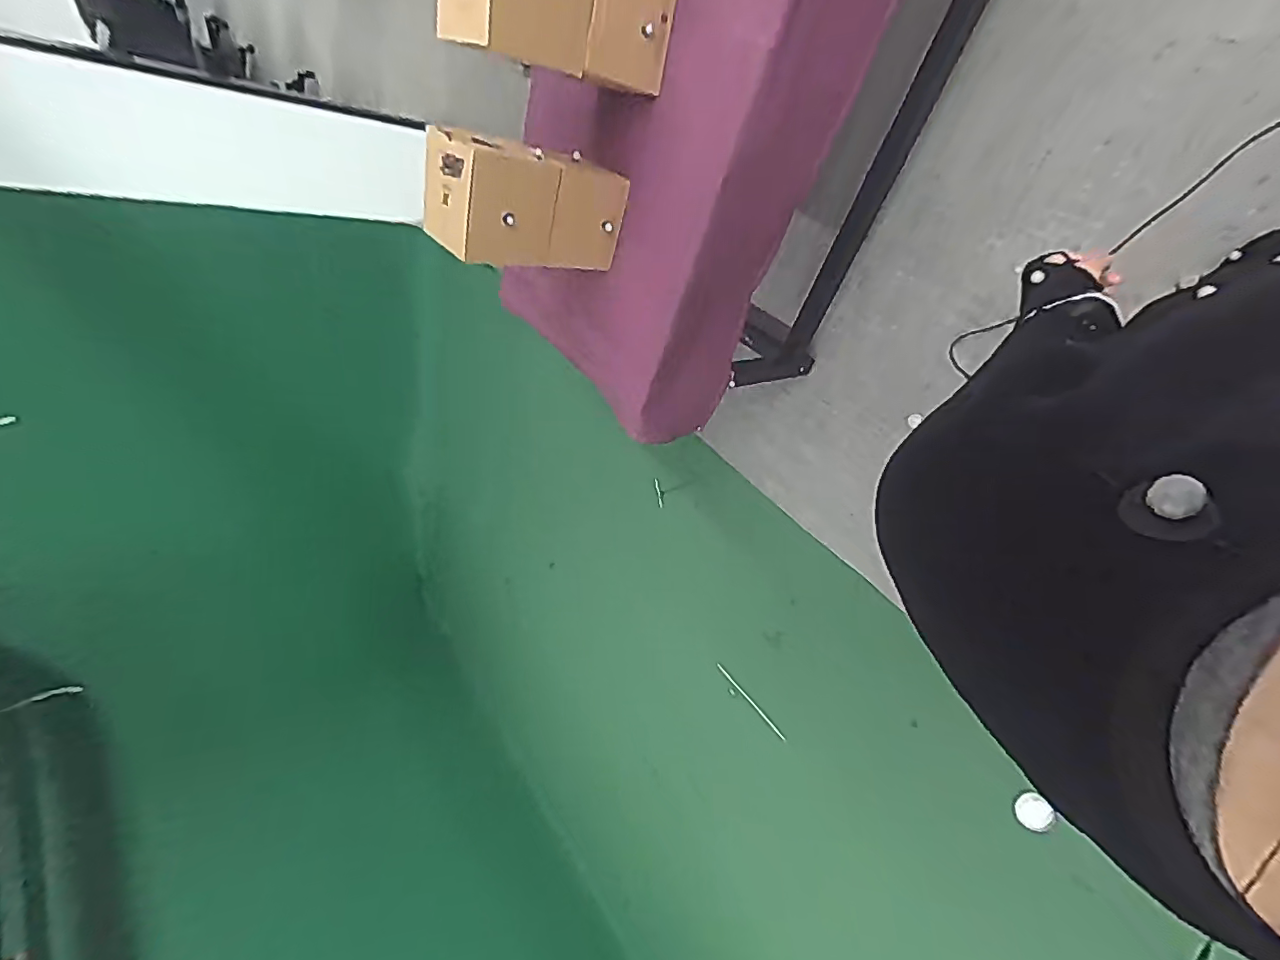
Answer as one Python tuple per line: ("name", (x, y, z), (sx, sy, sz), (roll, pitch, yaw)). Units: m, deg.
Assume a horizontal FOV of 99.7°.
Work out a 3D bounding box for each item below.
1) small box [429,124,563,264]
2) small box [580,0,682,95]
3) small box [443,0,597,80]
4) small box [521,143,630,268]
("small box", (-0.261, -0.509, 0.980), (0.168, 0.176, 0.179), (42, 131, 30))
("small box", (-0.059, -0.778, 0.921), (0.179, 0.176, 0.168), (37, 128, 33))
("small box", (-0.176, -0.739, 0.814), (0.168, 0.176, 0.179), (40, 130, 33))
("small box", (-0.142, -0.545, 1.088), (0.168, 0.176, 0.179), (43, 130, 31))
